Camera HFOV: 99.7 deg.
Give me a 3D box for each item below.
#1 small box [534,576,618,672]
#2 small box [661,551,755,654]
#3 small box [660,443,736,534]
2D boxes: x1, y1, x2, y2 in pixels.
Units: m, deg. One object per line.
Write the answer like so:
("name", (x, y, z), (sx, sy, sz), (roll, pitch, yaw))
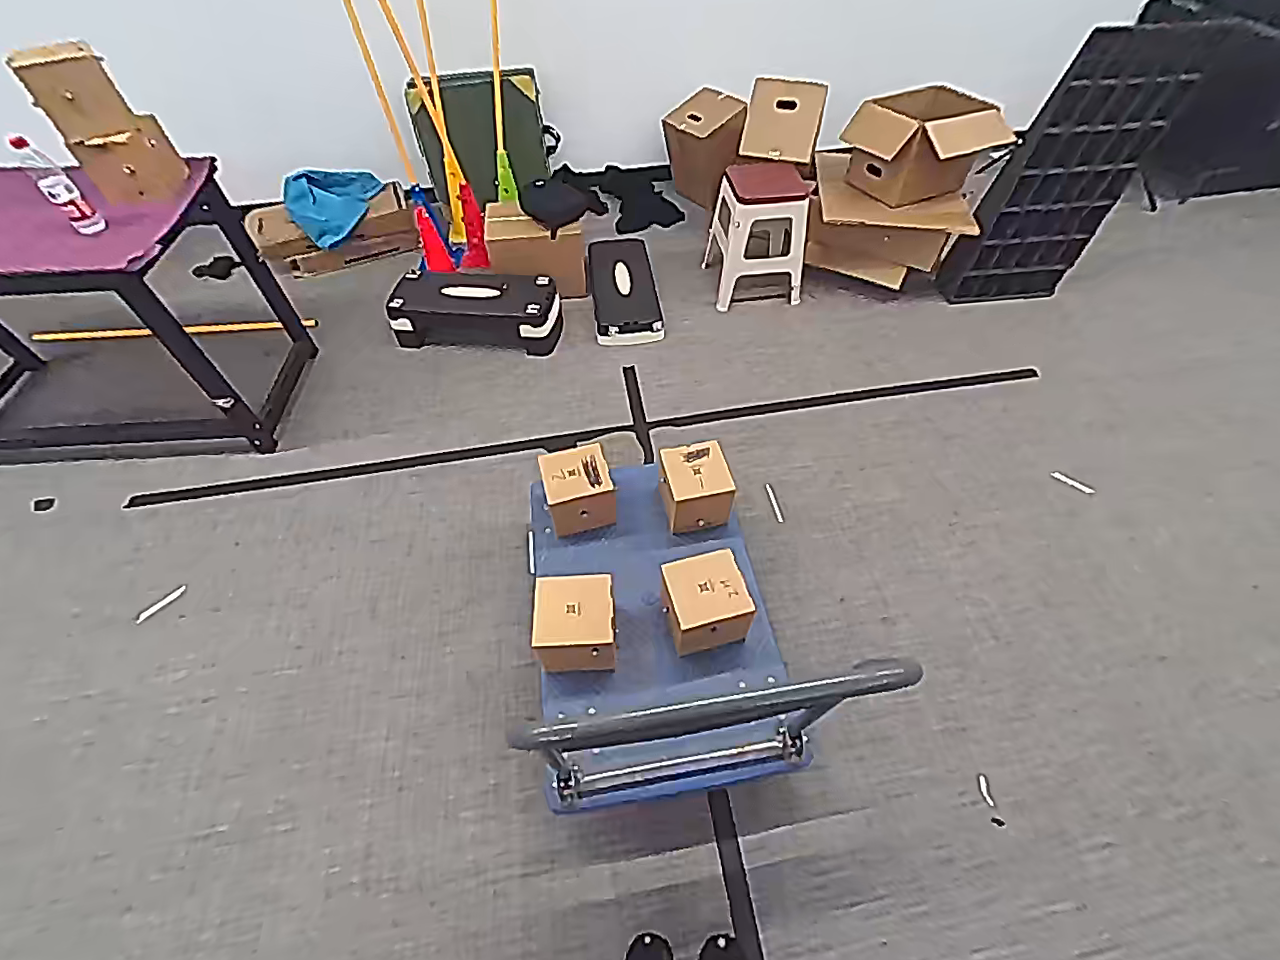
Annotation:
("small box", (-0.144, 0.341, 1.268), (0.179, 0.176, 0.168), (-2, 53, -3))
("small box", (0.156, 0.297, 1.295), (0.179, 0.176, 0.168), (-13, 54, -8))
("small box", (0.152, 0.026, 1.499), (0.168, 0.176, 0.179), (-11, 55, -7))
